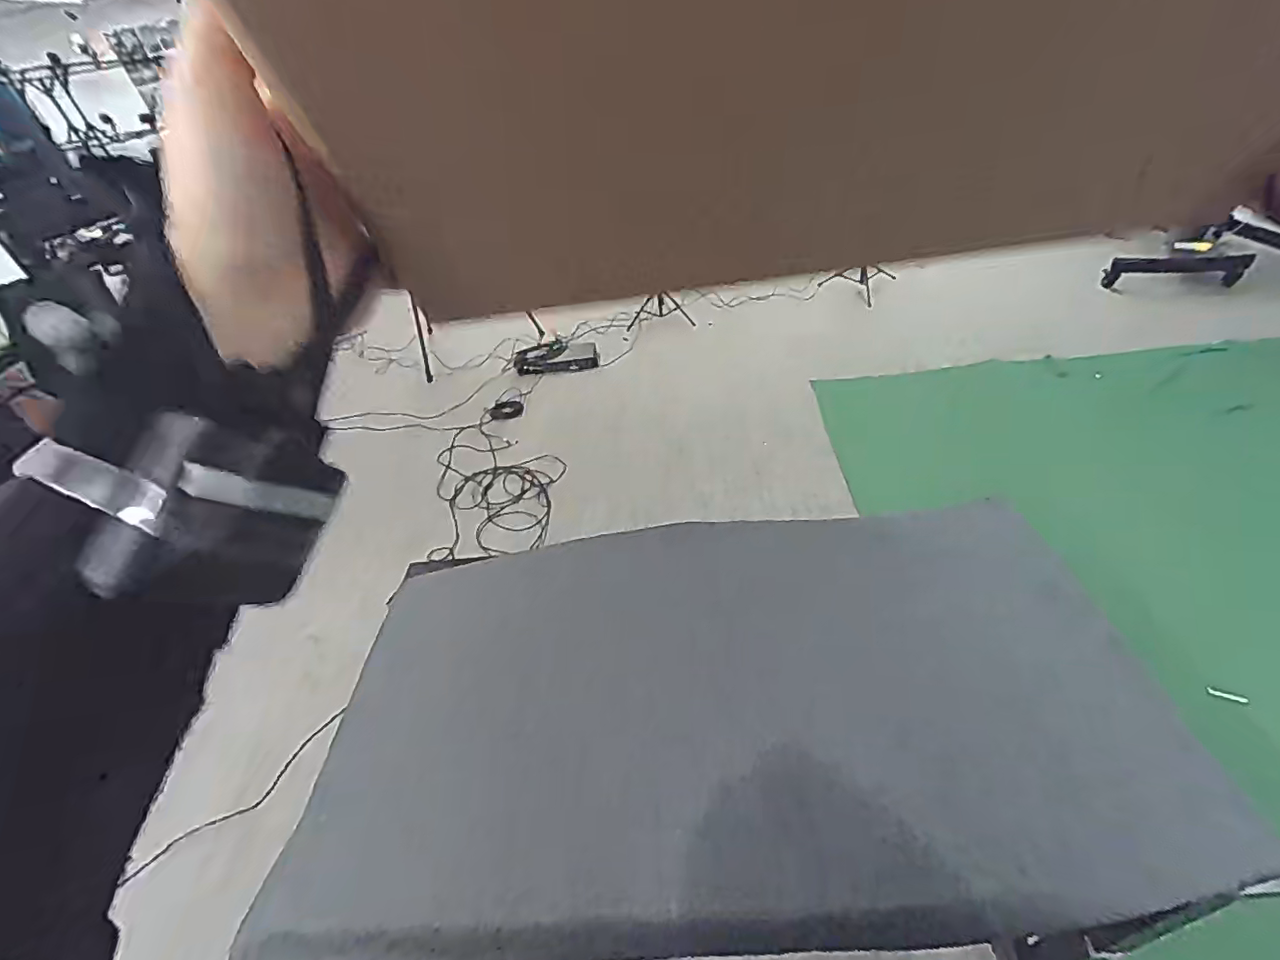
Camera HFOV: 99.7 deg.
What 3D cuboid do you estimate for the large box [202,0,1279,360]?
[{"bbox_3d":[0.057,-0.285,0.223,0.408,0.320,0.320,-7,67,2],"label":"large box"}]
